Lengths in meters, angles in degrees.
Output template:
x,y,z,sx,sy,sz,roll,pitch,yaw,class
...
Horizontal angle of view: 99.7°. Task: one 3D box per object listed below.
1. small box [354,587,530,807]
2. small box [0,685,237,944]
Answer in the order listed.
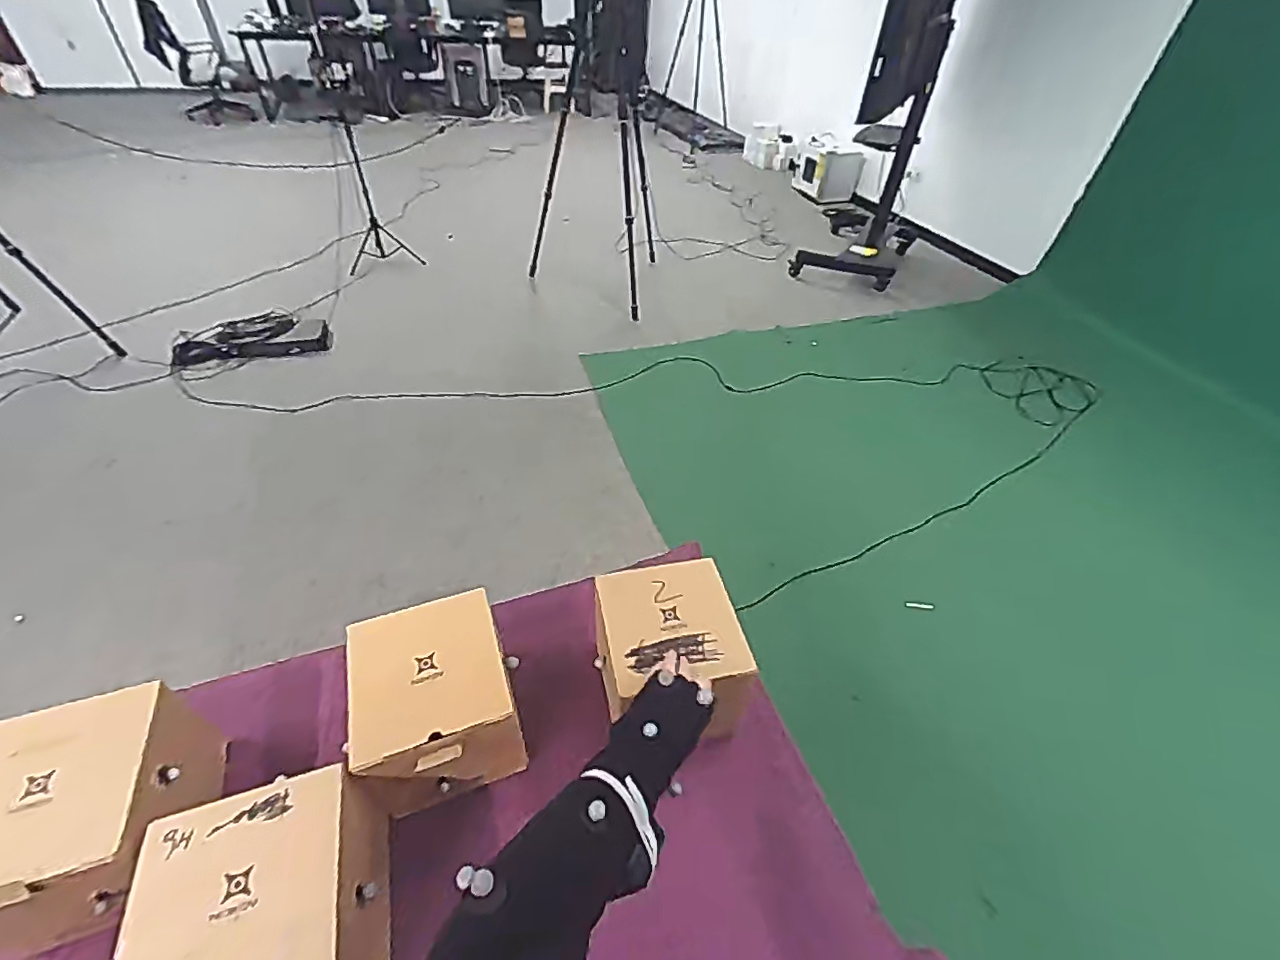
x,y,z,sx,sy,sz,roll,pitch,yaw,class
-0.243,0.270,0.677,0.168,0.176,0.179,-15,49,-17,small box
-0.566,0.355,0.573,0.168,0.176,0.179,-12,47,-16,small box
